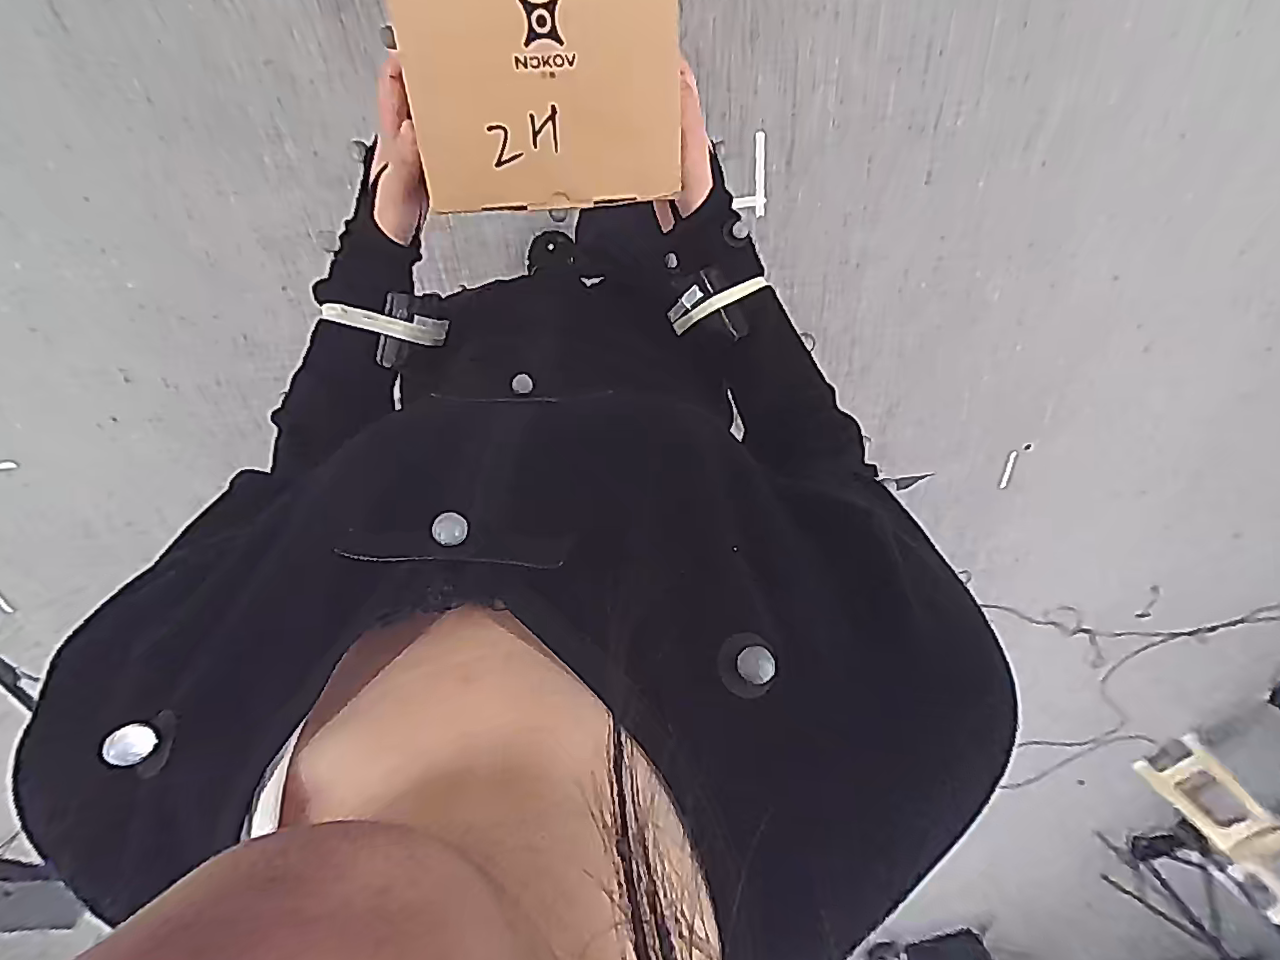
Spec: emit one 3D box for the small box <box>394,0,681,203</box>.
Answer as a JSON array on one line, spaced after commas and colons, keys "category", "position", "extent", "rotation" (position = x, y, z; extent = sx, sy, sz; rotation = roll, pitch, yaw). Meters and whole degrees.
[{"category": "small box", "position": [-0.069, -0.300, 0.386], "extent": [0.168, 0.176, 0.179], "rotation": [-7, 120, -6]}]
